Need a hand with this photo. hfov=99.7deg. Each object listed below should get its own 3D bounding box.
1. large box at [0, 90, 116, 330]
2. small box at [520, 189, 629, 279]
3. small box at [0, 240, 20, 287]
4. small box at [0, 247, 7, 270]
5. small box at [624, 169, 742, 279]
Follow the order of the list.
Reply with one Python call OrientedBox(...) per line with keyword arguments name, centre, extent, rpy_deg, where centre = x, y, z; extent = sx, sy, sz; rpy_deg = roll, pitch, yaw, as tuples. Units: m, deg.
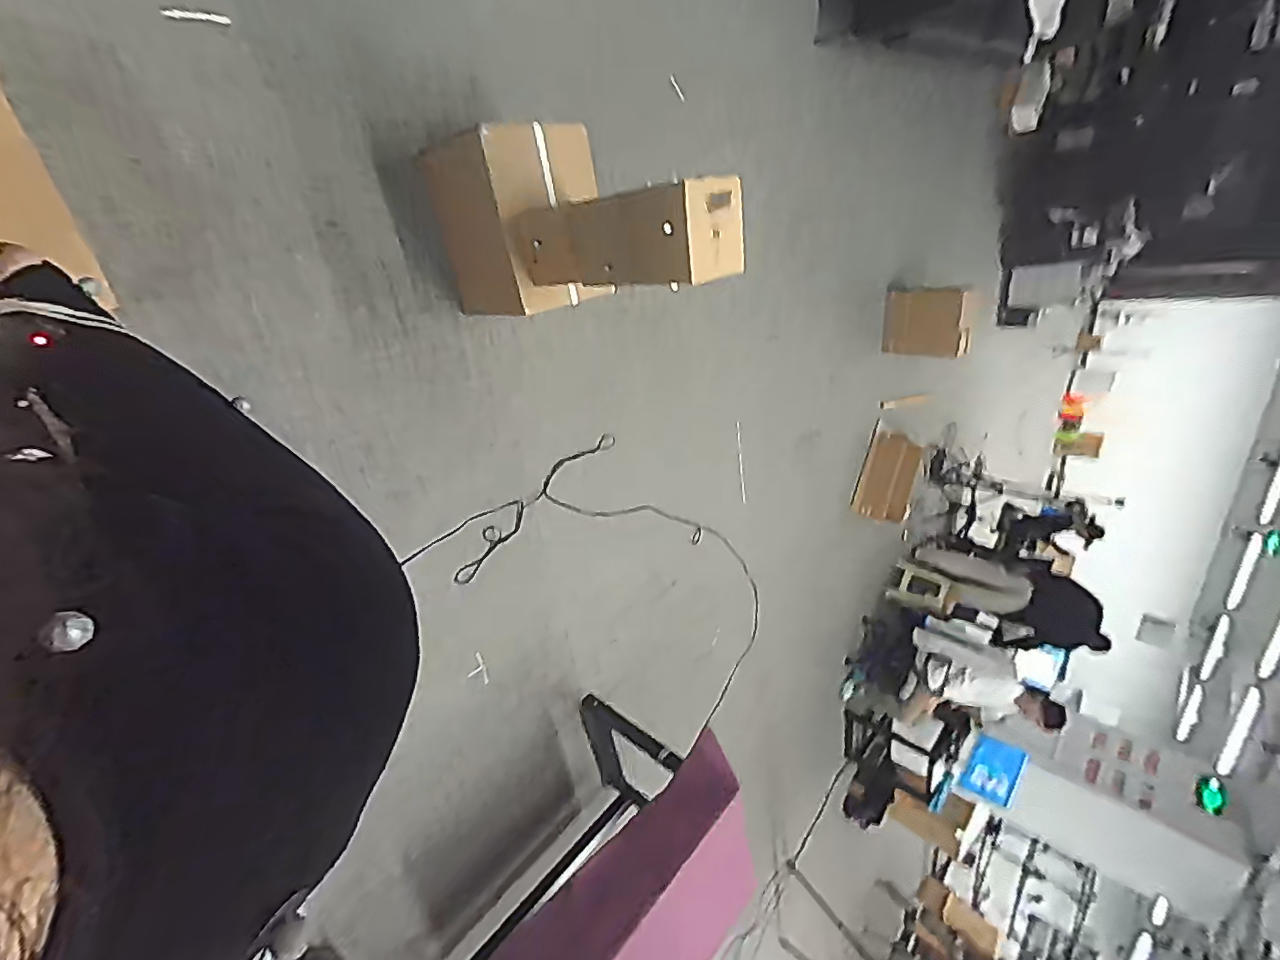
OrientedBox(name="large box", centre=(-1.047, -0.415, 0.762), extent=(0.320, 0.320, 0.408), rpy_deg=(-31, 122, -36))
OrientedBox(name="small box", centre=(-0.154, -0.583, 1.286), extent=(0.179, 0.176, 0.168), rpy_deg=(-32, 124, -34))
OrientedBox(name="small box", centre=(-0.876, -0.296, 0.618), extent=(0.179, 0.176, 0.168), rpy_deg=(-32, 122, -35))
OrientedBox(name="small box", centre=(-0.762, -0.268, 0.503), extent=(0.168, 0.176, 0.179), rpy_deg=(-37, 125, -34))
OrientedBox(name="small box", centre=(0.083, -0.503, 1.072), extent=(0.168, 0.176, 0.179), rpy_deg=(-29, 123, -36))
